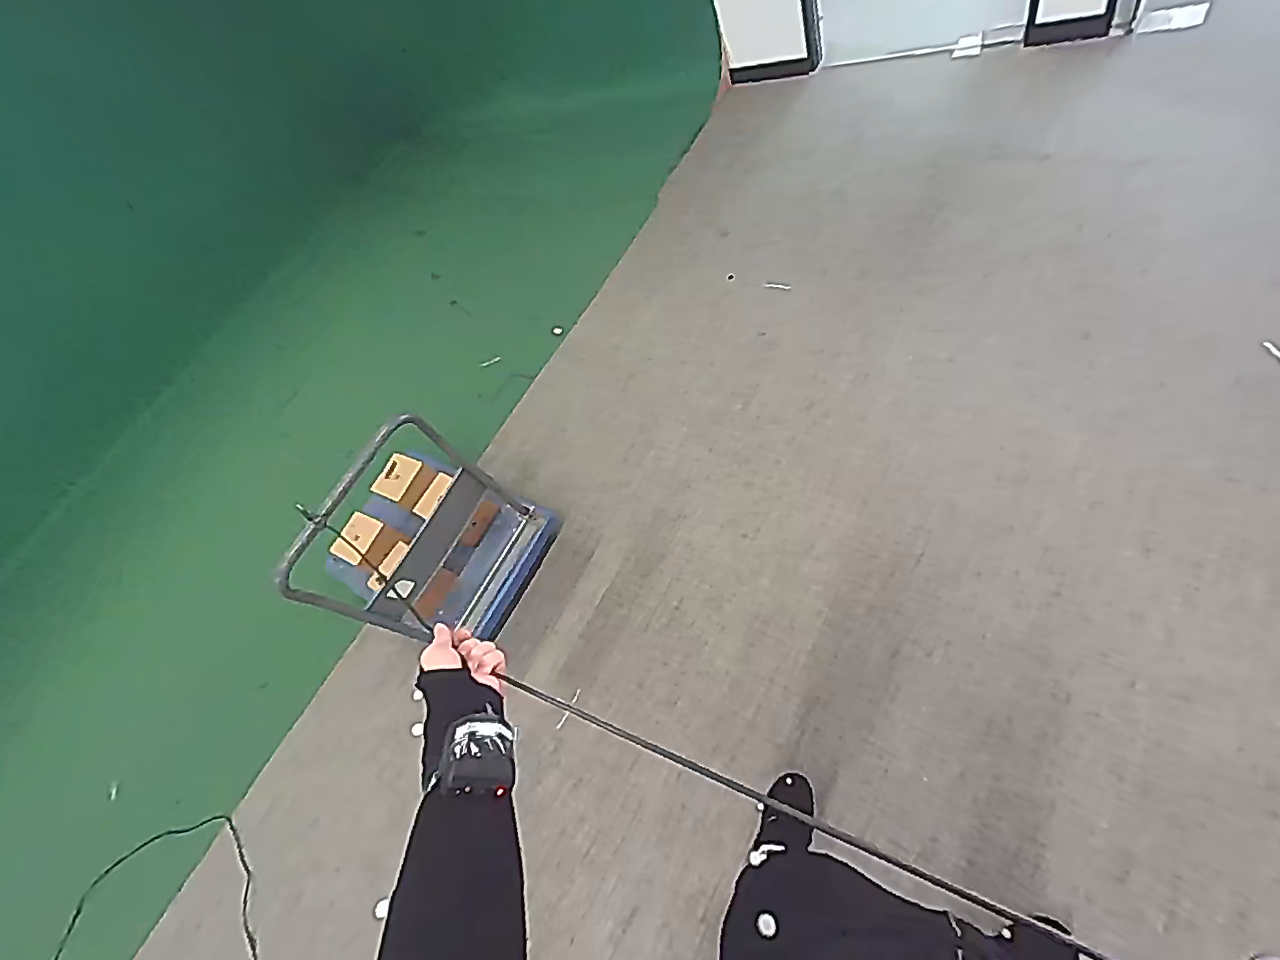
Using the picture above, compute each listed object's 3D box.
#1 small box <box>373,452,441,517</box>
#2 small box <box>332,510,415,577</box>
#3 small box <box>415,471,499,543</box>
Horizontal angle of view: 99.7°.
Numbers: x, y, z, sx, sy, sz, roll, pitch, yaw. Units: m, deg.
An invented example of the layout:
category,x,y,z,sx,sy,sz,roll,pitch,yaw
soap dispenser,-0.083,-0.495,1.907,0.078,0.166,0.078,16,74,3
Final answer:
category,x,y,z,sx,sy,sz,roll,pitch,yaw
small box,-0.847,0.020,2.027,0.179,0.176,0.168,16,70,30
small box,-0.954,0.235,1.951,0.179,0.176,0.168,16,69,31
small box,-0.633,0.099,1.882,0.179,0.176,0.168,22,72,32
